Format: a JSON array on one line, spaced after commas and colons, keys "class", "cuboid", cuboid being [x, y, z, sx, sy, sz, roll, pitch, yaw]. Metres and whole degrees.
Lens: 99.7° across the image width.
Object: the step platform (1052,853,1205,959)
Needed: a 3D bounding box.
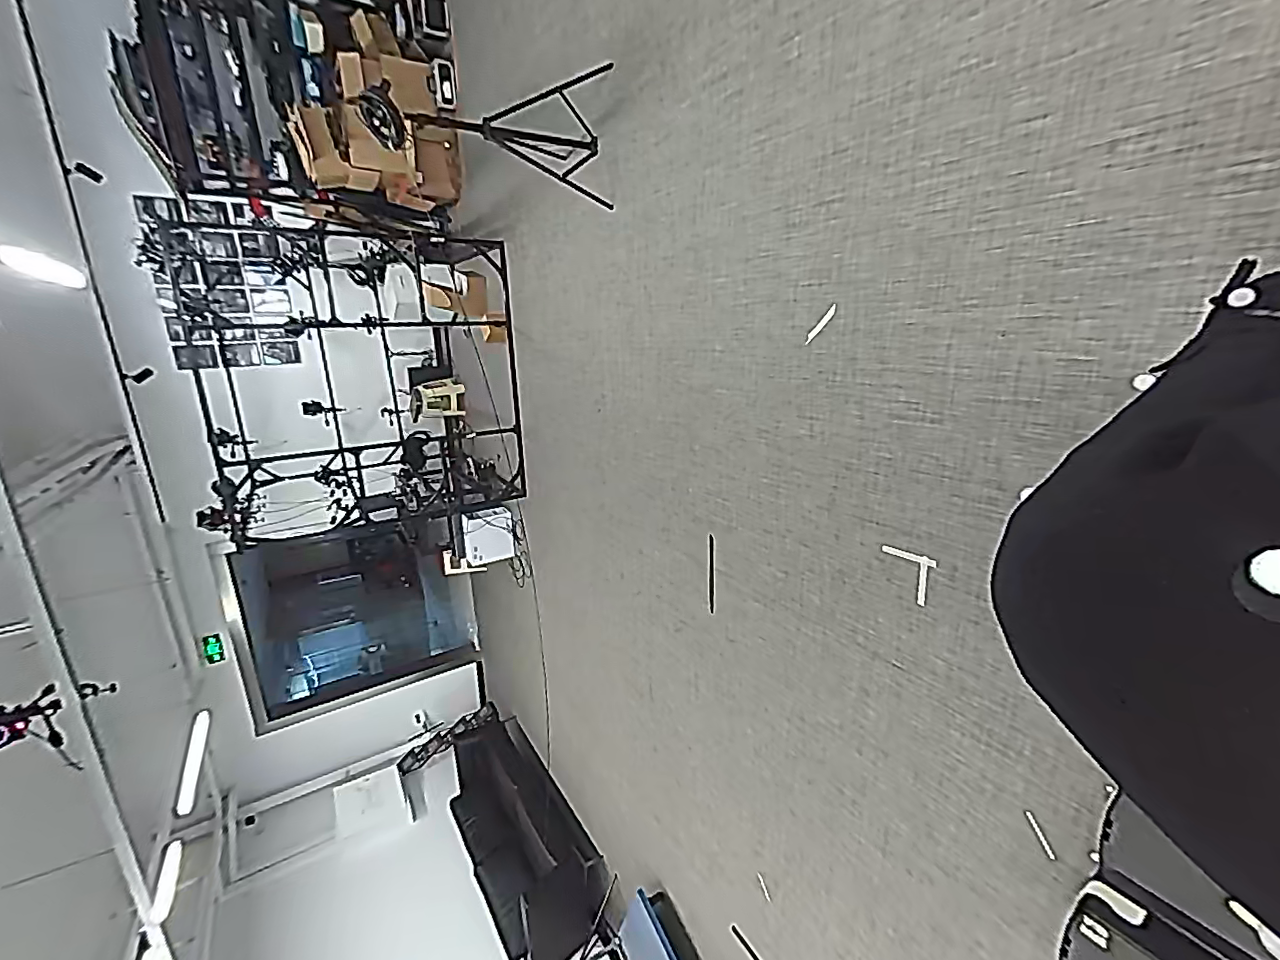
[{"class": "step platform", "cuboid": [1.243, 1.132, 1.068, 0.684, 0.204, 0.286, 23, 118, 57]}]
